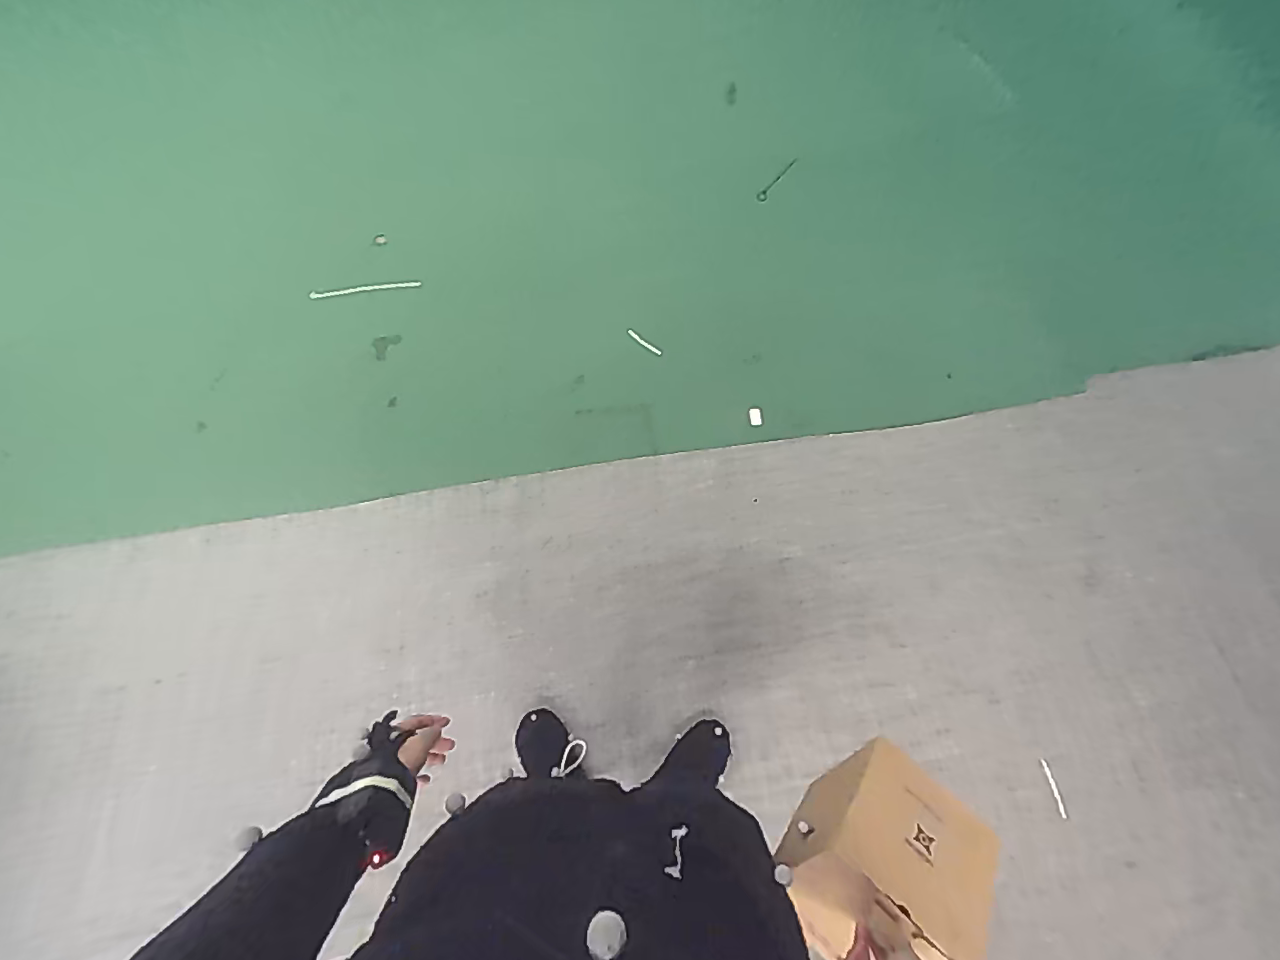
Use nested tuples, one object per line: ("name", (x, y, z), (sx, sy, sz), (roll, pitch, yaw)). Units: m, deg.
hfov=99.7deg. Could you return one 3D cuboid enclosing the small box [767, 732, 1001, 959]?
("small box", (0.275, 0.446, 0.631), (0.168, 0.176, 0.179), (42, 39, 18))
